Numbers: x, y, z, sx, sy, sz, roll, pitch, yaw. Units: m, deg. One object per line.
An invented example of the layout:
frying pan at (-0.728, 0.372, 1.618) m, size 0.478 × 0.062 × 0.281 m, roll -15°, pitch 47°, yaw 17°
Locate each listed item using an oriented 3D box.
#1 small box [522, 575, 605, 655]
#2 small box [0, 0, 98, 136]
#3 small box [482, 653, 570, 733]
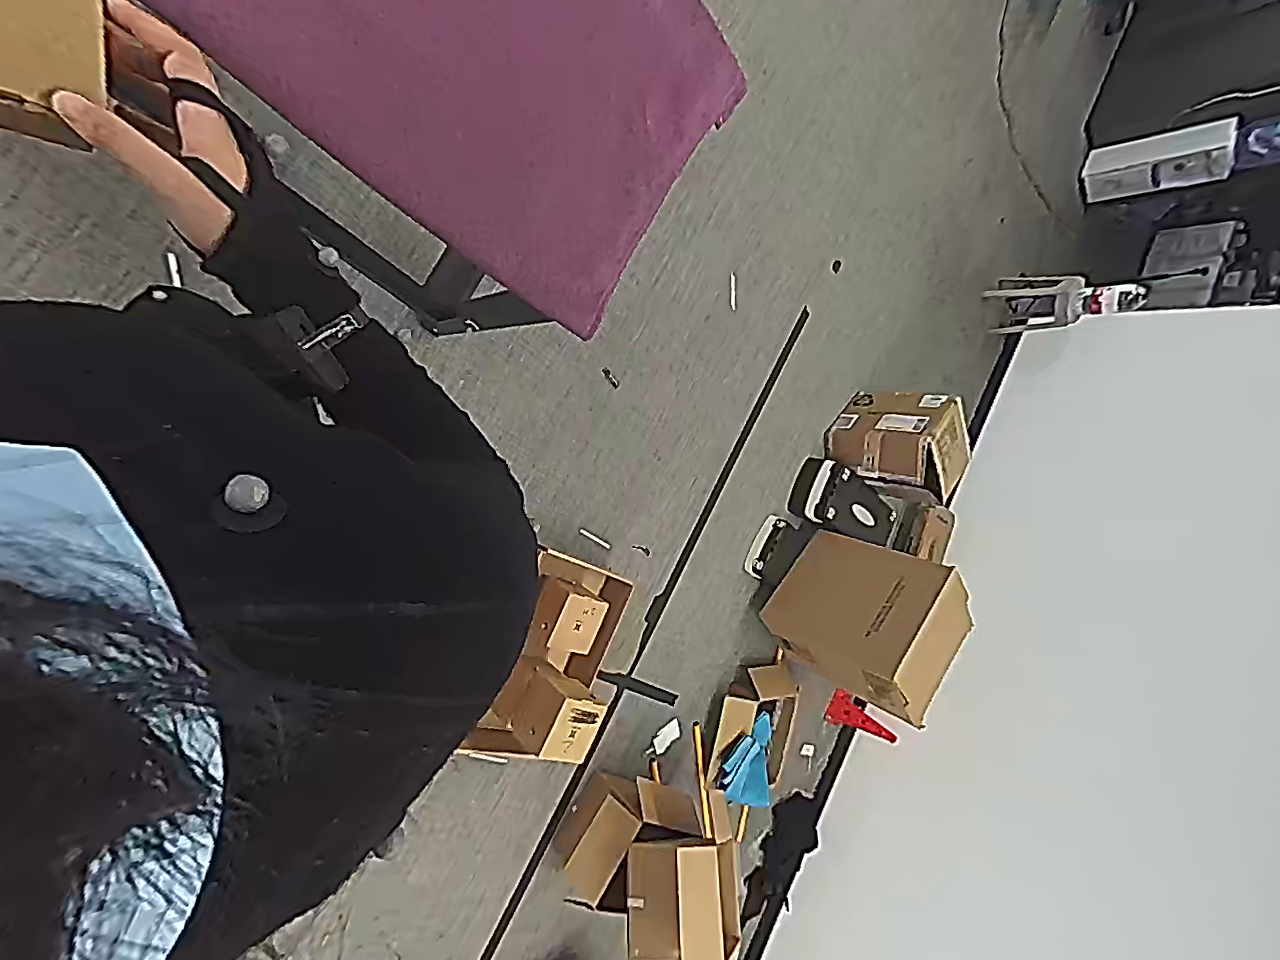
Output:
small box at (-0.248, 0.424, 1.705) m, size 0.168 × 0.176 × 0.179 m, roll 28°, pitch 84°, yaw -40°
small box at (-0.390, -0.302, 0.270) m, size 0.168 × 0.176 × 0.179 m, roll -4°, pitch 110°, yaw -48°
small box at (-0.356, 0.658, 1.676) m, size 0.179 × 0.176 × 0.168 m, roll 30°, pitch 80°, yaw -39°
